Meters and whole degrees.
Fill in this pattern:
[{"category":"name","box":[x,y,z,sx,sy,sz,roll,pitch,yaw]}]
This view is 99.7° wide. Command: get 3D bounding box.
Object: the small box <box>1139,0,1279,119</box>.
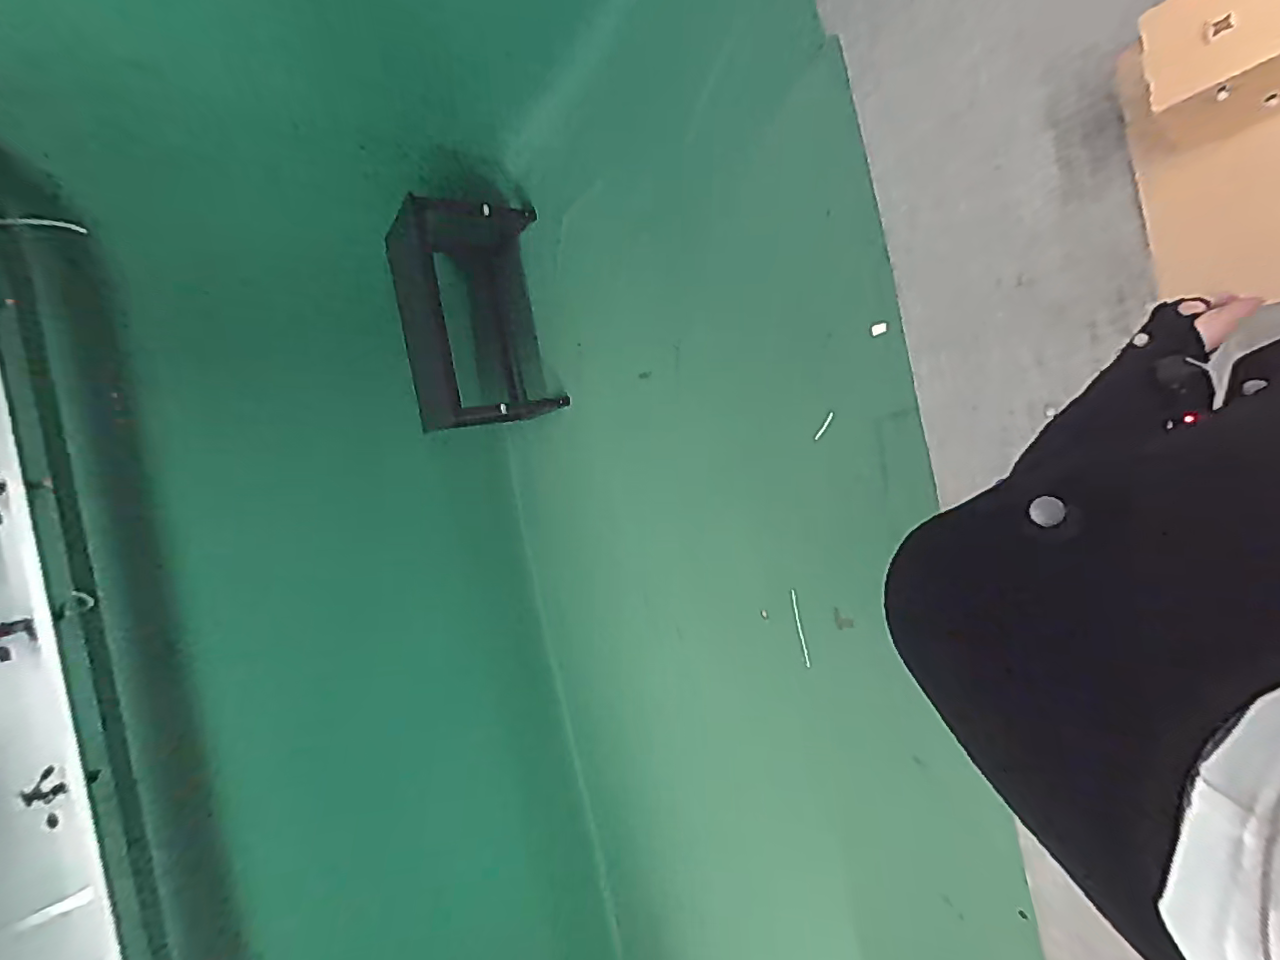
[{"category":"small box","box":[0.972,-0.742,0.895,0.179,0.176,0.168,-9,94,55]}]
